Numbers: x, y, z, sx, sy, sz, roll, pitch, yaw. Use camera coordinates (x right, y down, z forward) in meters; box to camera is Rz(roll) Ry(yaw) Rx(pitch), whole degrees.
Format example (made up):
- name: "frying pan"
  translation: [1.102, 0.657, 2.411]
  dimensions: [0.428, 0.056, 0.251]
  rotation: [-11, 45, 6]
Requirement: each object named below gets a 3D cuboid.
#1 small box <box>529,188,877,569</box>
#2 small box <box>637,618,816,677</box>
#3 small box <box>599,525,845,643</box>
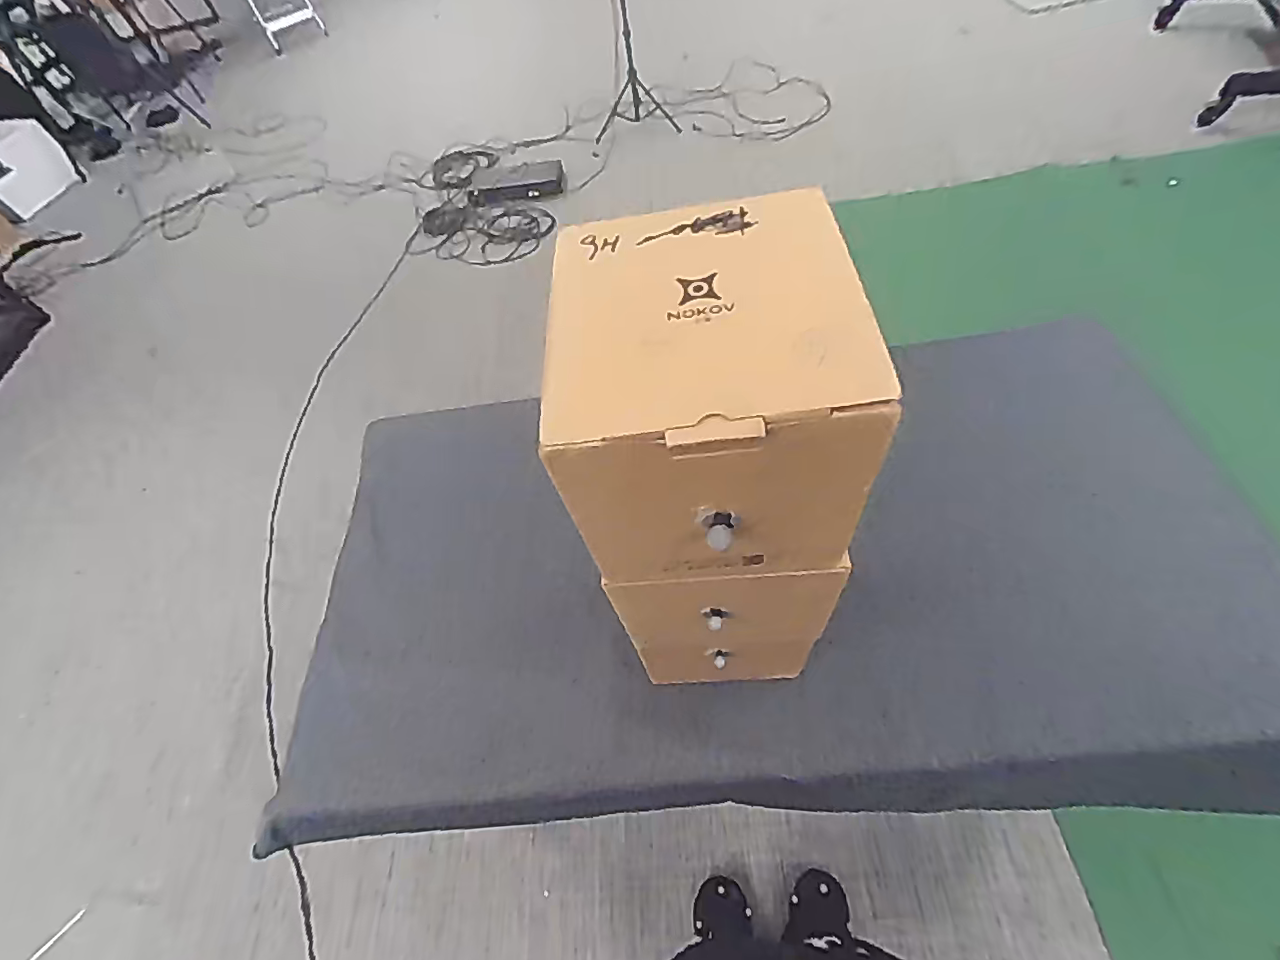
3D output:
- name: "small box"
  translation: [0.037, -0.050, 0.357]
  dimensions: [0.168, 0.176, 0.179]
  rotation: [-7, 58, 7]
- name: "small box"
  translation: [0.092, 0.124, 0.629]
  dimensions: [0.179, 0.176, 0.168]
  rotation: [-6, 58, 6]
- name: "small box"
  translation: [0.068, 0.041, 0.489]
  dimensions: [0.179, 0.176, 0.168]
  rotation: [-7, 57, 8]
